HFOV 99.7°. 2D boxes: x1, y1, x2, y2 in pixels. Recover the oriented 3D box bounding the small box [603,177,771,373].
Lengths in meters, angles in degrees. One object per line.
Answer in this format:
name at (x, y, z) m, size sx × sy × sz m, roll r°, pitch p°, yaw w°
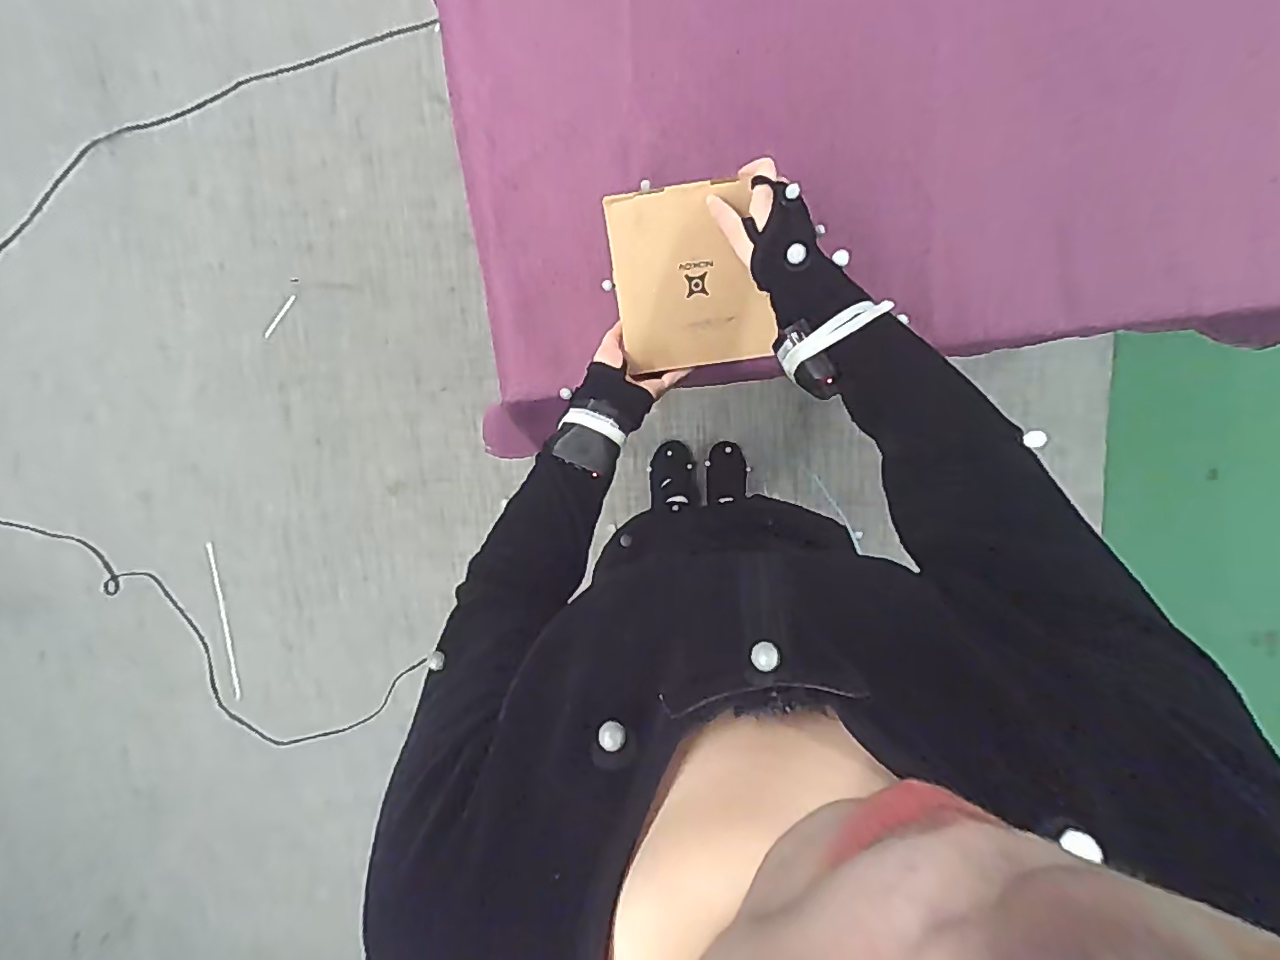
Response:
small box at (0.050, -0.235, 0.627) m, size 0.168 × 0.176 × 0.179 m, roll -7°, pitch 114°, yaw 2°
